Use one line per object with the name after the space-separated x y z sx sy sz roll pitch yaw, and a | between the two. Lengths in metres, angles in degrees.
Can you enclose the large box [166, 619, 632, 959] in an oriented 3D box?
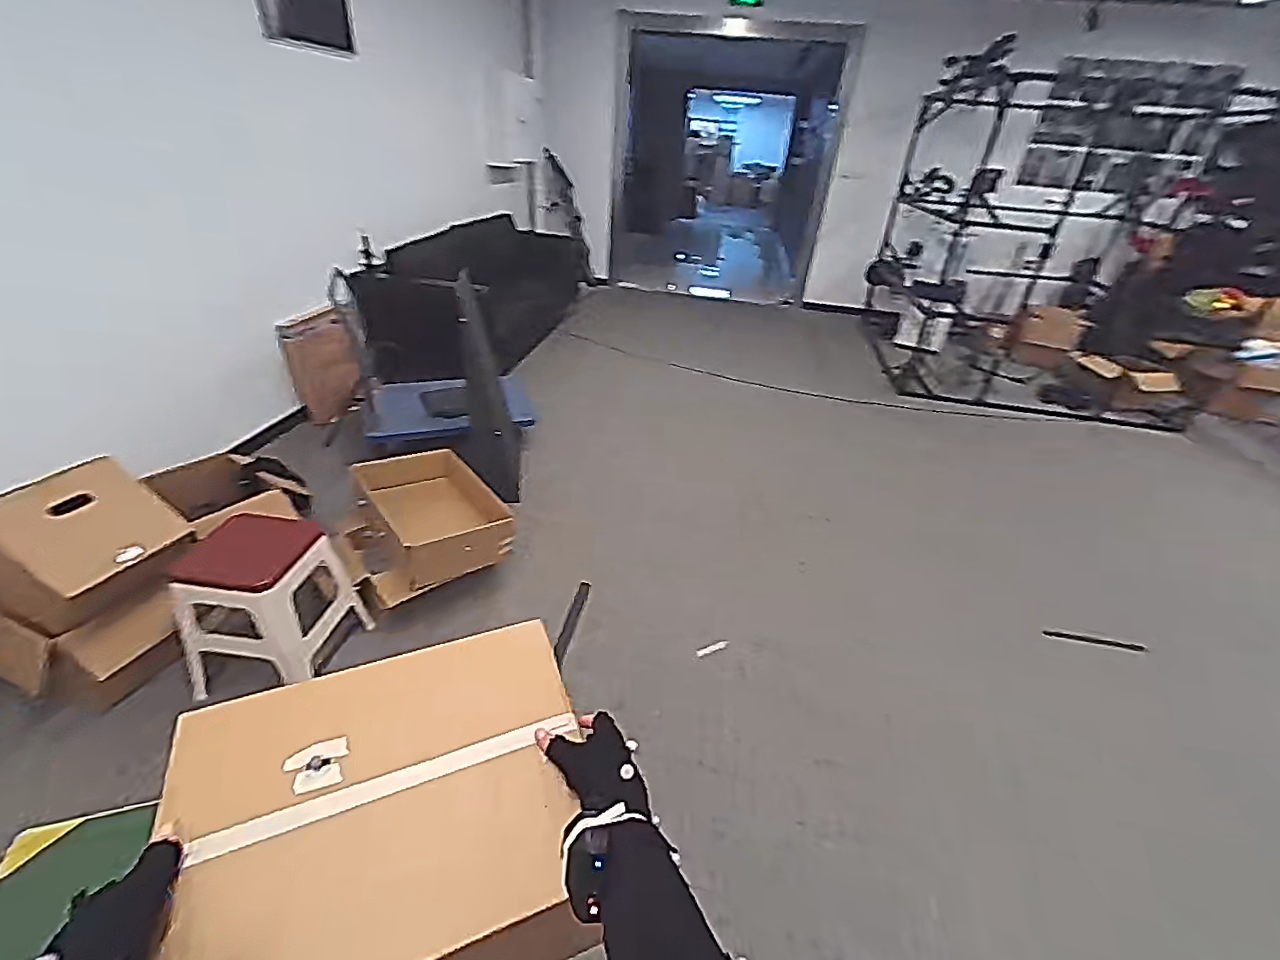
-0.257 0.433 0.671 0.408 0.320 0.320 -10 42 -20 | large box
